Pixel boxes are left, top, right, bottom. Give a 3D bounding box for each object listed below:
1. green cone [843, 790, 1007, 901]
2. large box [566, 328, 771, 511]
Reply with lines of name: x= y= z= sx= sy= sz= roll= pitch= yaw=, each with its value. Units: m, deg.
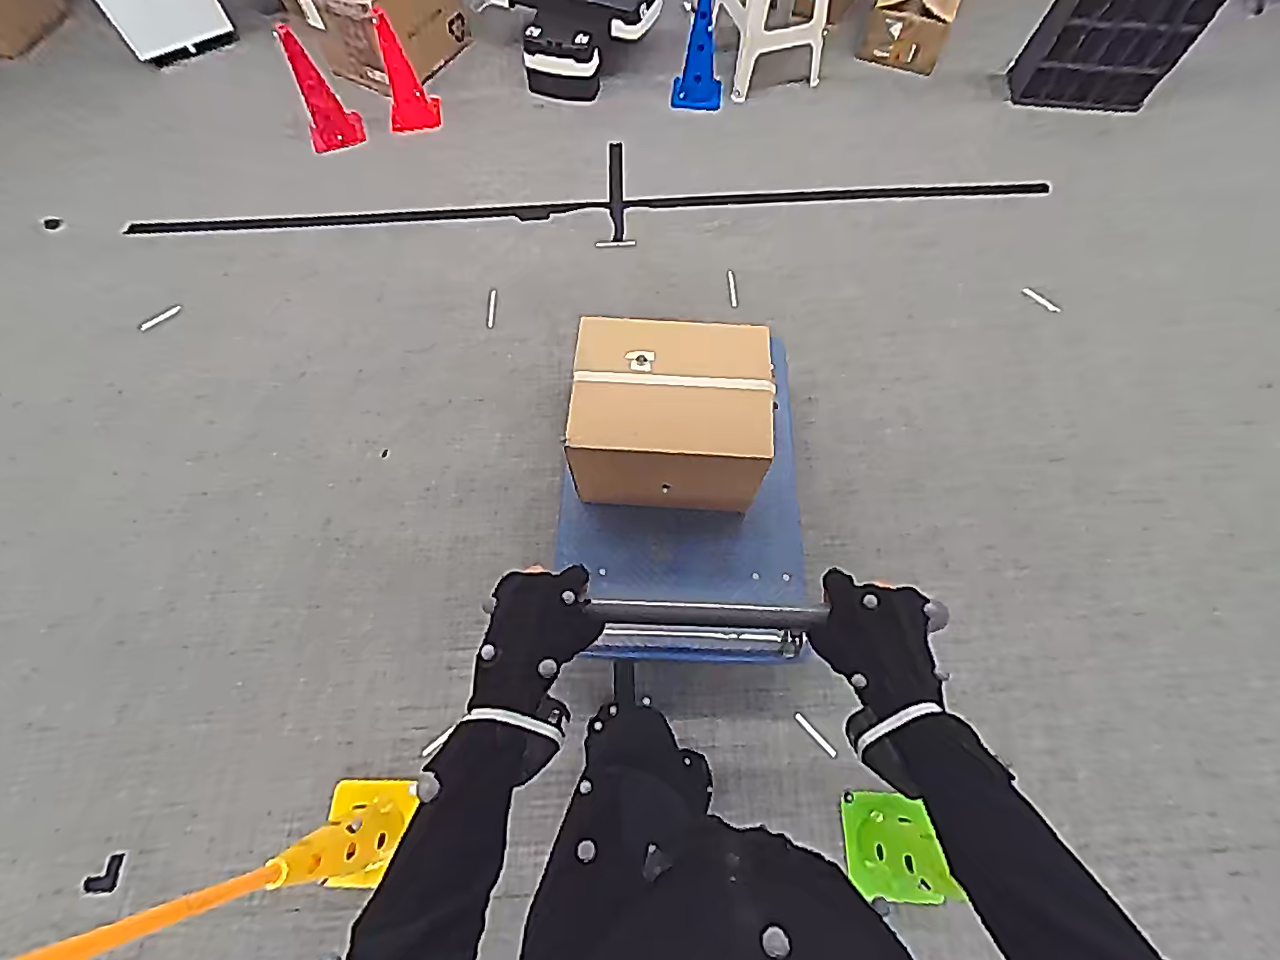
green cone: x=0.550 y=0.717 z=1.013 sx=0.202 sy=0.368 sz=0.200 roll=2 pitch=66 yaw=0
large box: x=0.066 y=-0.124 z=1.235 sx=0.408 sy=0.320 sz=0.320 roll=3 pitch=67 yaw=2
